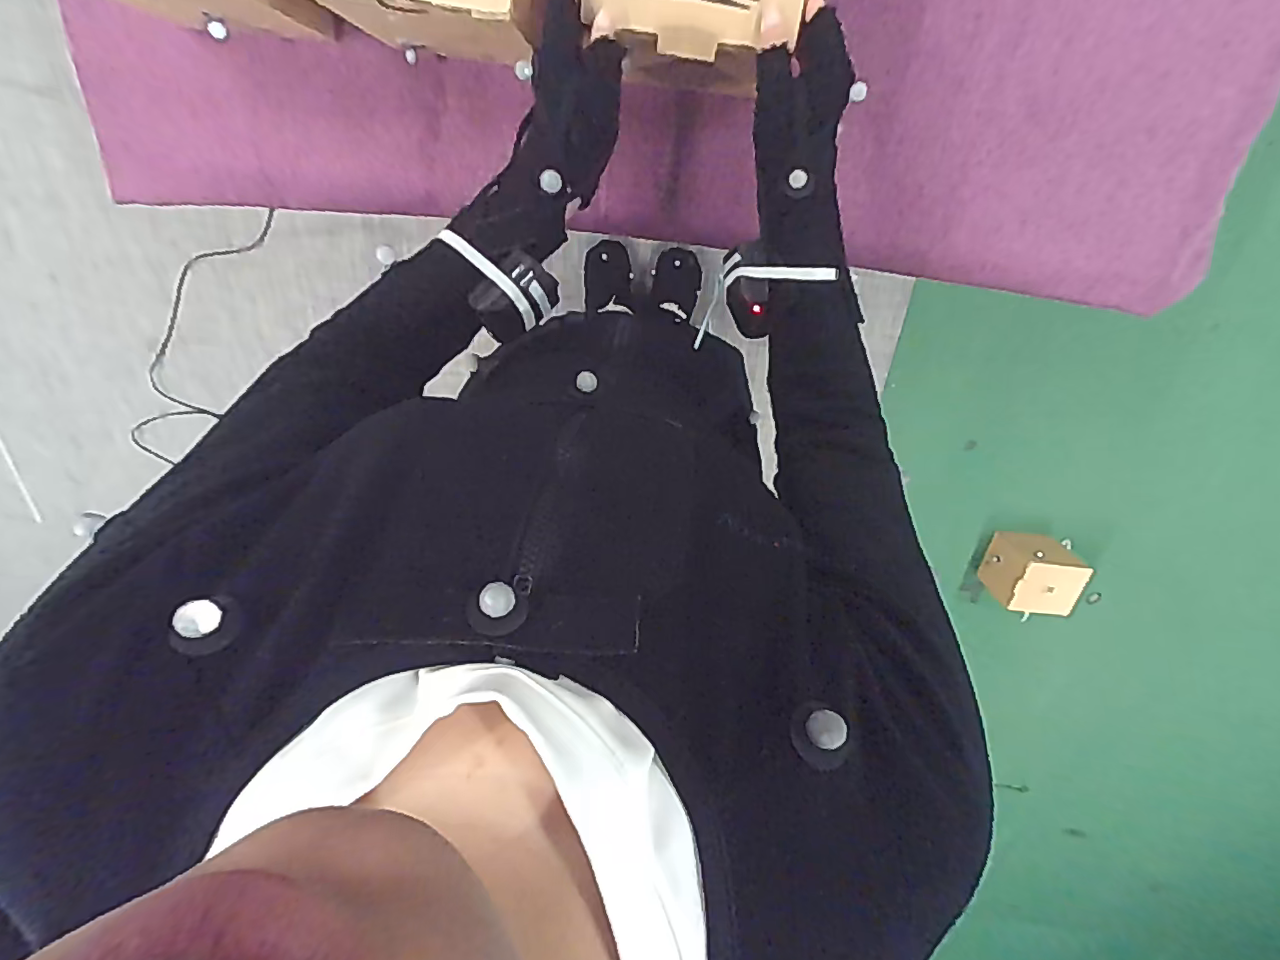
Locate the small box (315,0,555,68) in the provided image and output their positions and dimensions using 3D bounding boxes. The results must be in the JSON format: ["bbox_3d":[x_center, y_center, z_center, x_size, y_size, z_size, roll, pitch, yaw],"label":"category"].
[{"bbox_3d":[-0.163,-0.471,0.447,0.168,0.176,0.179,7,115,-2],"label":"small box"}]

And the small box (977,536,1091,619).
[{"bbox_3d":[1.128,0.278,1.563,0.179,0.176,0.168,6,116,0],"label":"small box"}]

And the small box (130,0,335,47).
[{"bbox_3d":[-0.382,-0.496,0.442,0.168,0.176,0.179,6,116,-1],"label":"small box"}]
